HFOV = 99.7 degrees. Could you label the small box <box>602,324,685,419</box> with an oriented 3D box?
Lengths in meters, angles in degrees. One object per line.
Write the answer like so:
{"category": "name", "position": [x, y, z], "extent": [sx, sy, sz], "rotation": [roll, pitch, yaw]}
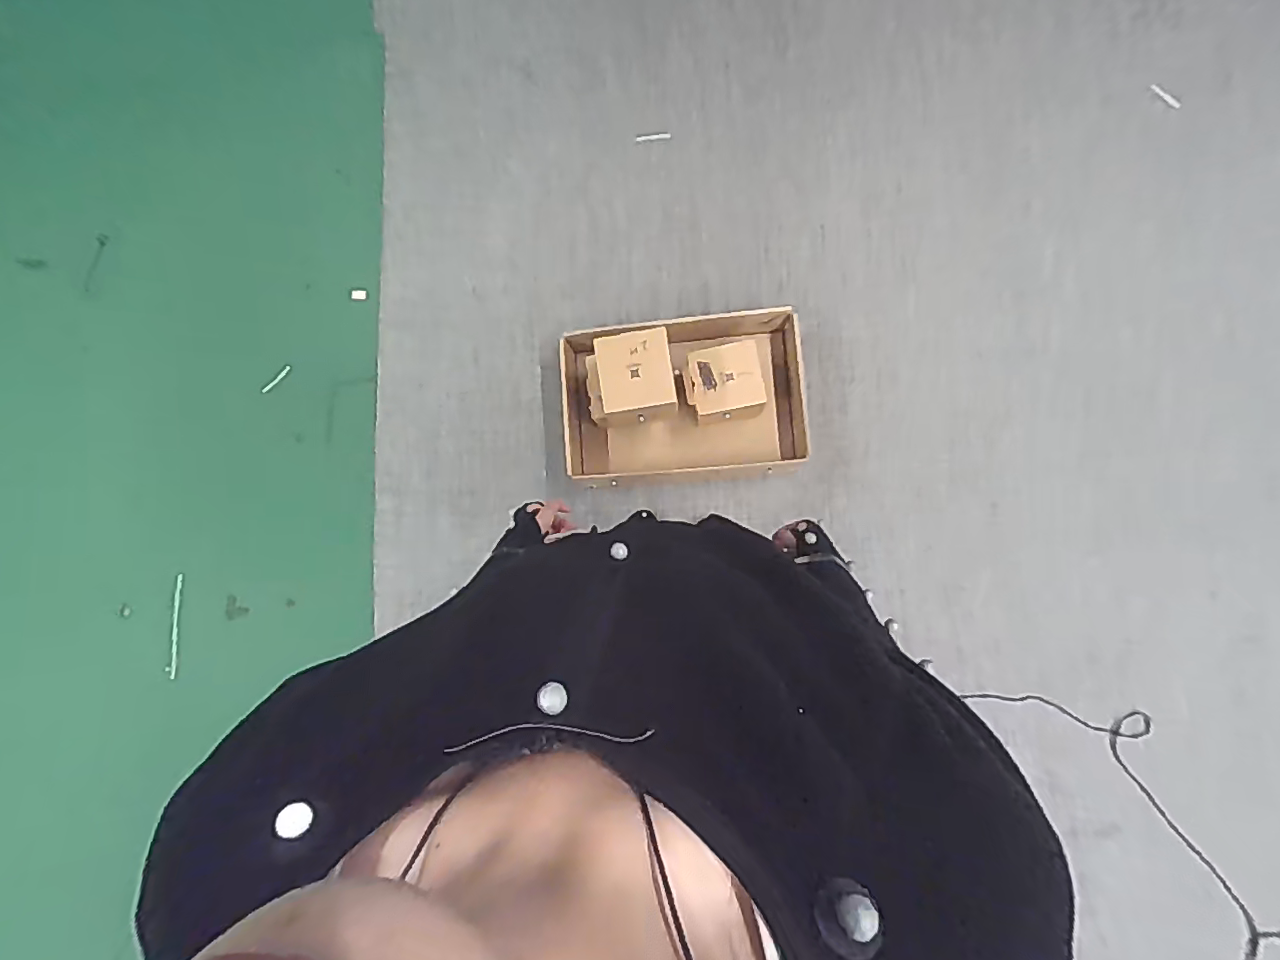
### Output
{"category": "small box", "position": [0.013, -0.247, 1.278], "extent": [0.168, 0.176, 0.179], "rotation": [-9, 86, 4]}

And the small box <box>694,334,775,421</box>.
{"category": "small box", "position": [0.245, -0.259, 1.412], "extent": [0.179, 0.176, 0.168], "rotation": [-11, 85, 7]}

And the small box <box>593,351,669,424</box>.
{"category": "small box", "position": [-0.017, -0.249, 1.446], "extent": [0.179, 0.176, 0.168], "rotation": [-7, 86, 5]}
